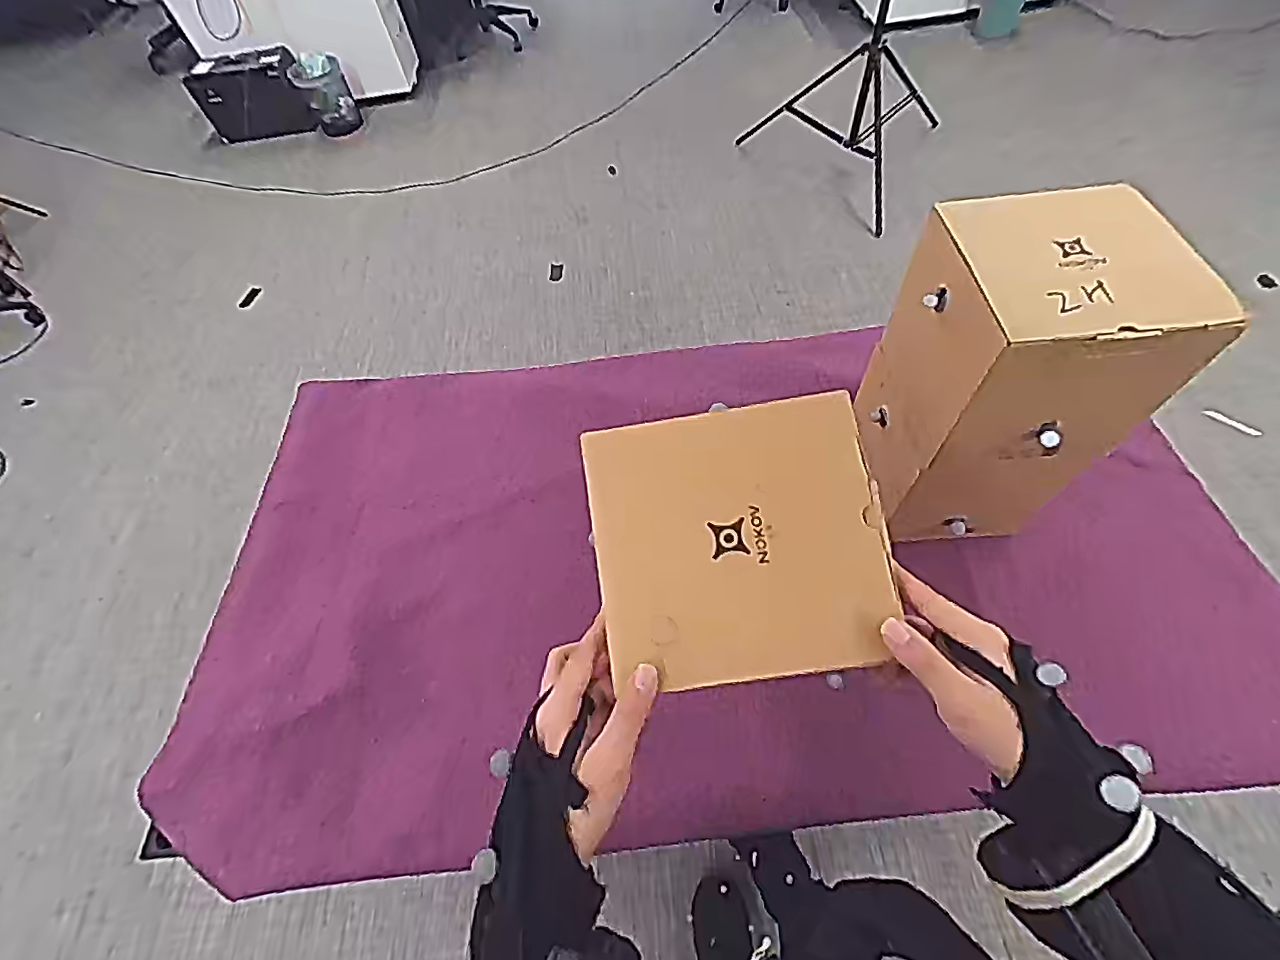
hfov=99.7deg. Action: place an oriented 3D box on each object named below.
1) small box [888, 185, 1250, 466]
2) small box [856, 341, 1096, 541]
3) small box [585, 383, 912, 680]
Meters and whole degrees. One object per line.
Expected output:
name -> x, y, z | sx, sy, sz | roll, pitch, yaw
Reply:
small box -> 0.347, -0.133, 0.490 | 0.168, 0.176, 0.179 | -4, 58, 4
small box -> 0.359, -0.045, 0.630 | 0.168, 0.176, 0.179 | -4, 58, 4
small box -> 0.066, 0.047, 0.408 | 0.179, 0.176, 0.168 | -9, 77, 2
